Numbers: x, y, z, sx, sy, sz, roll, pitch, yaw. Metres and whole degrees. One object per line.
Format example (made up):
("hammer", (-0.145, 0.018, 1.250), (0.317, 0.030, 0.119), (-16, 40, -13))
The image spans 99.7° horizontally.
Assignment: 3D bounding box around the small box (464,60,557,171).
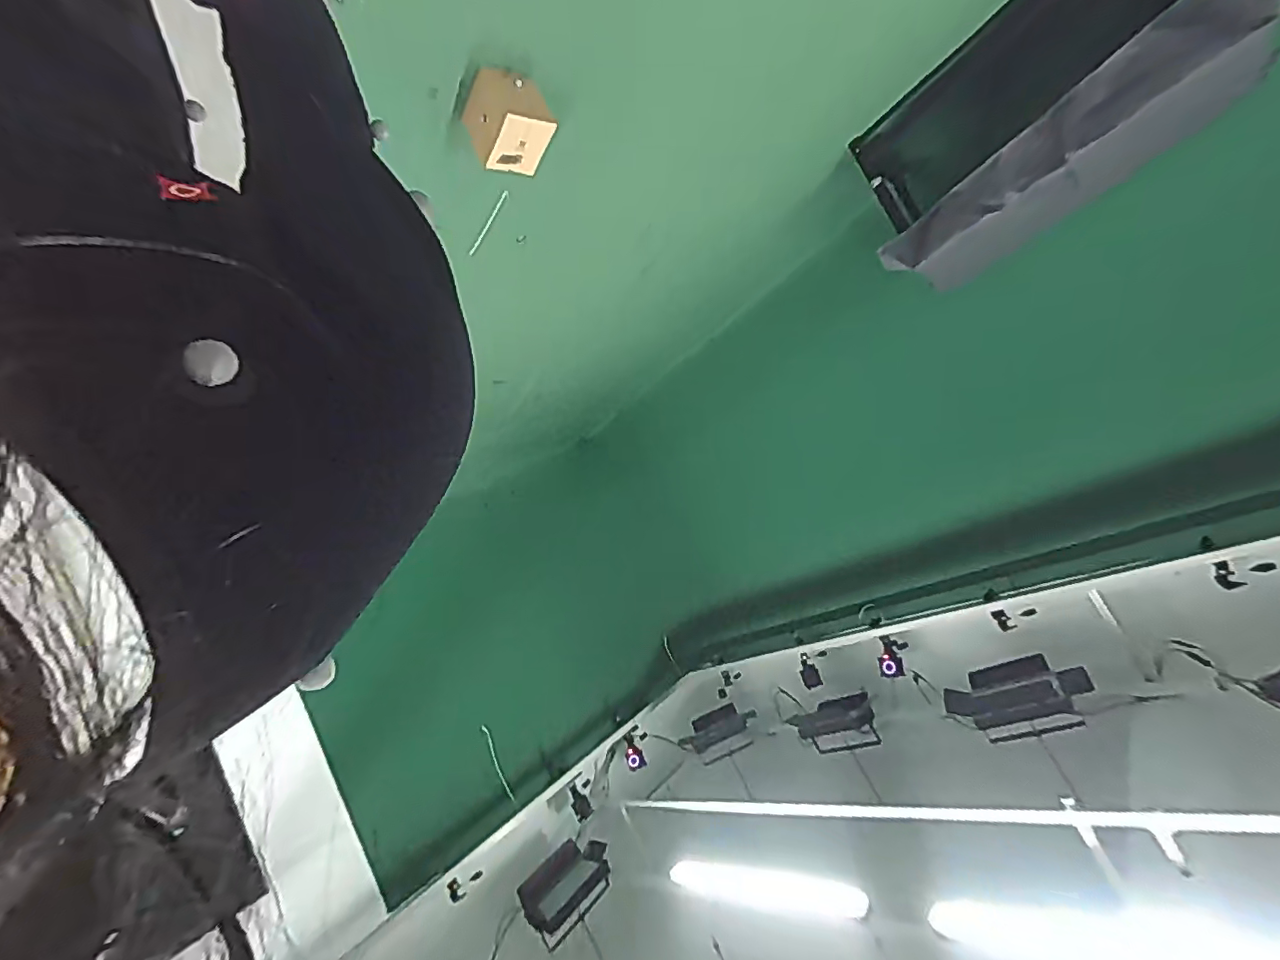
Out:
("small box", (-0.368, -1.009, 1.508), (0.168, 0.176, 0.179), (-21, 170, -42))
